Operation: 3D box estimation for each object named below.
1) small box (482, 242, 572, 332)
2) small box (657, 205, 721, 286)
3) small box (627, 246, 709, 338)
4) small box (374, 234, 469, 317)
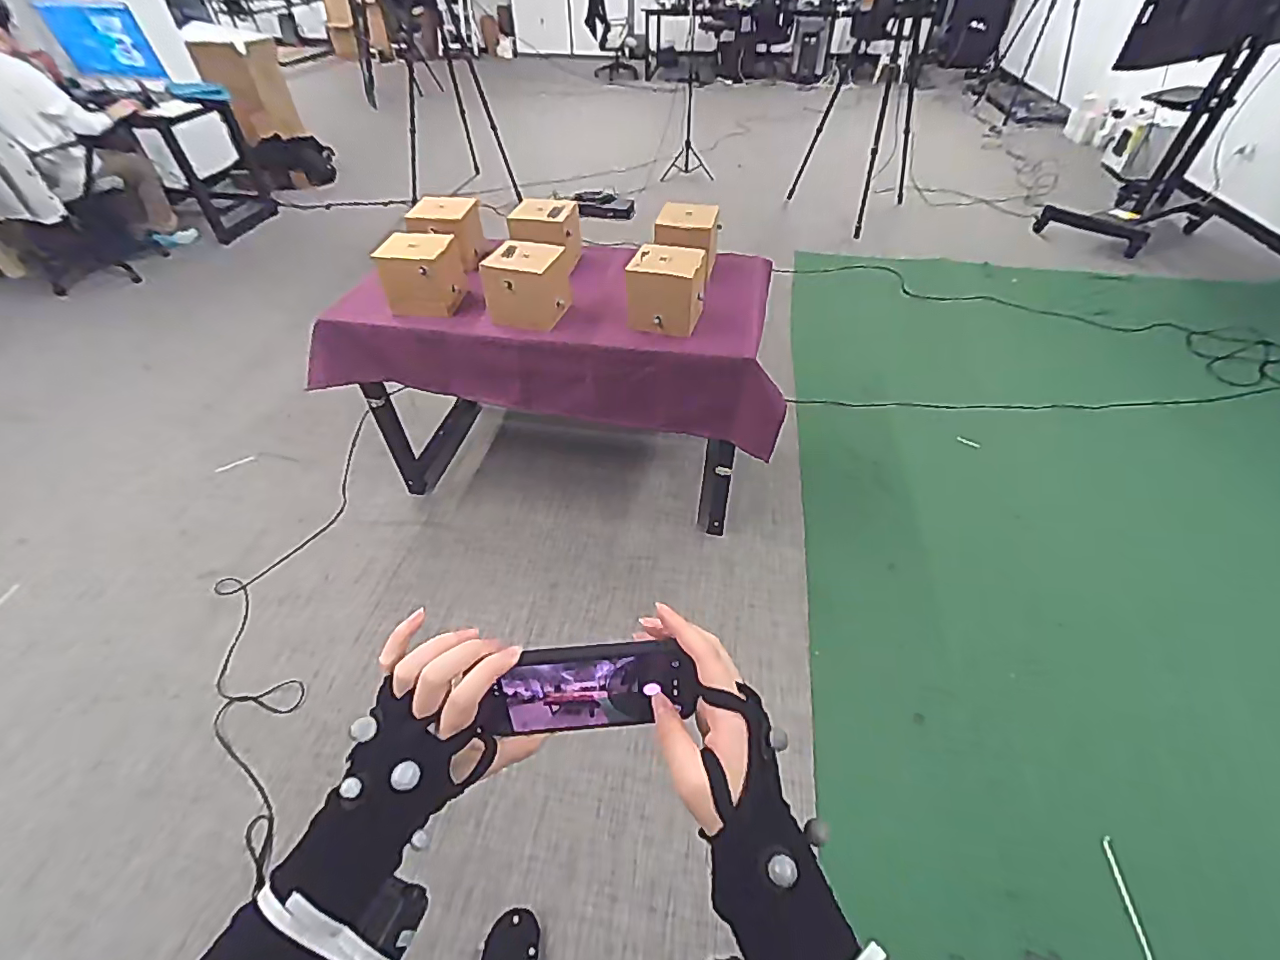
[{"bbox_3d":[-0.297,-0.520,1.461,0.179,0.176,0.168,12,47,11],"label":"small box"},{"bbox_3d":[0.146,-0.715,1.649,0.168,0.176,0.179,10,47,10],"label":"small box"},{"bbox_3d":[0.073,-0.496,1.436,0.179,0.176,0.168,13,47,12],"label":"small box"},{"bbox_3d":[-0.602,-0.570,1.512,0.179,0.176,0.168,4,45,2],"label":"small box"}]
